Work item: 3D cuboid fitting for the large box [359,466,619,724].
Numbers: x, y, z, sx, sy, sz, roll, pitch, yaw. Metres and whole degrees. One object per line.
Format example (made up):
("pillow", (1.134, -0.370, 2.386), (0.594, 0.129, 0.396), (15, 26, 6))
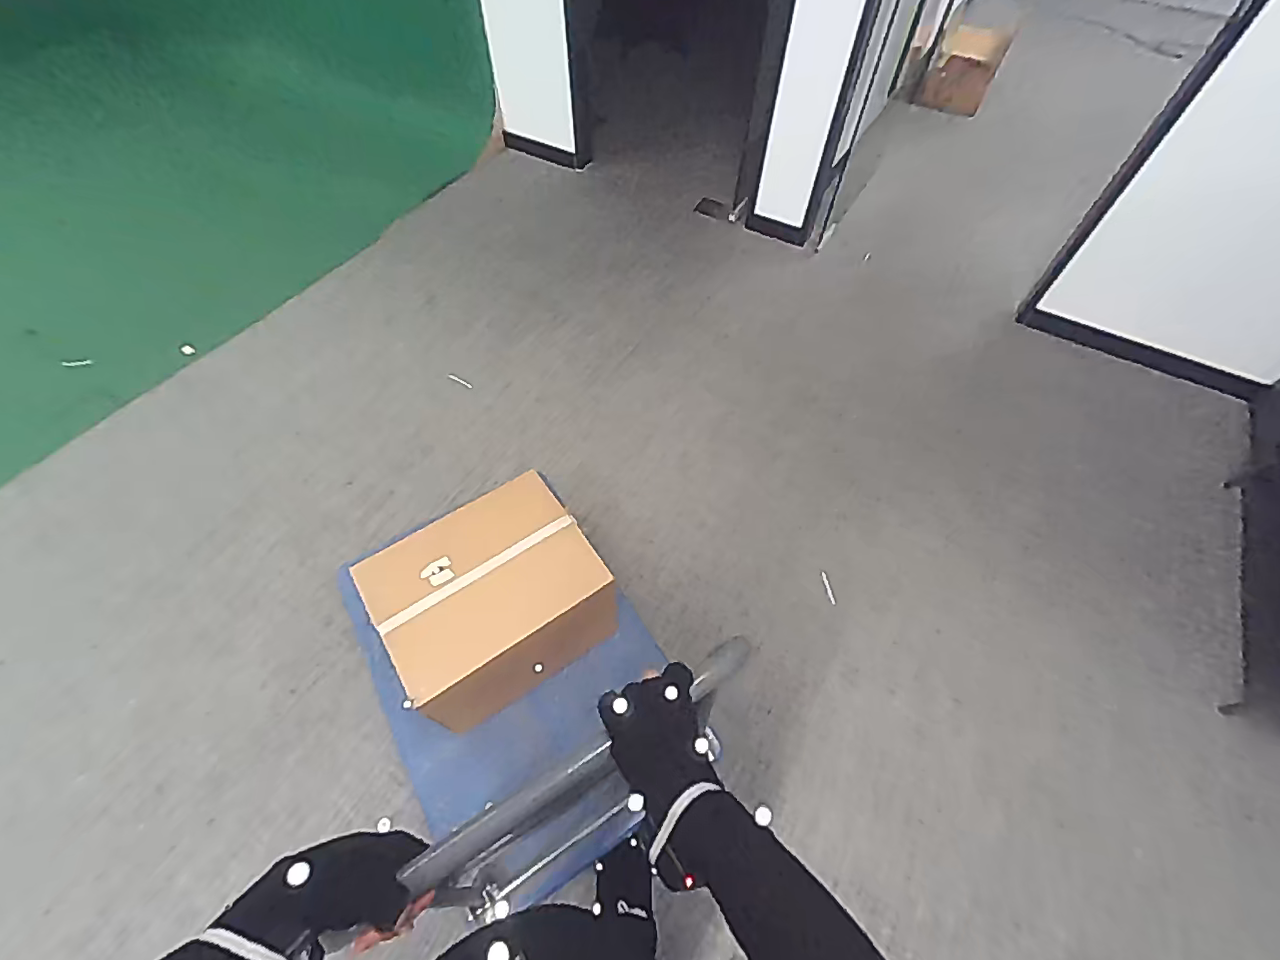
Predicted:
("large box", (-0.292, 0.248, 1.158), (0.408, 0.320, 0.320), (-32, 63, -19))
